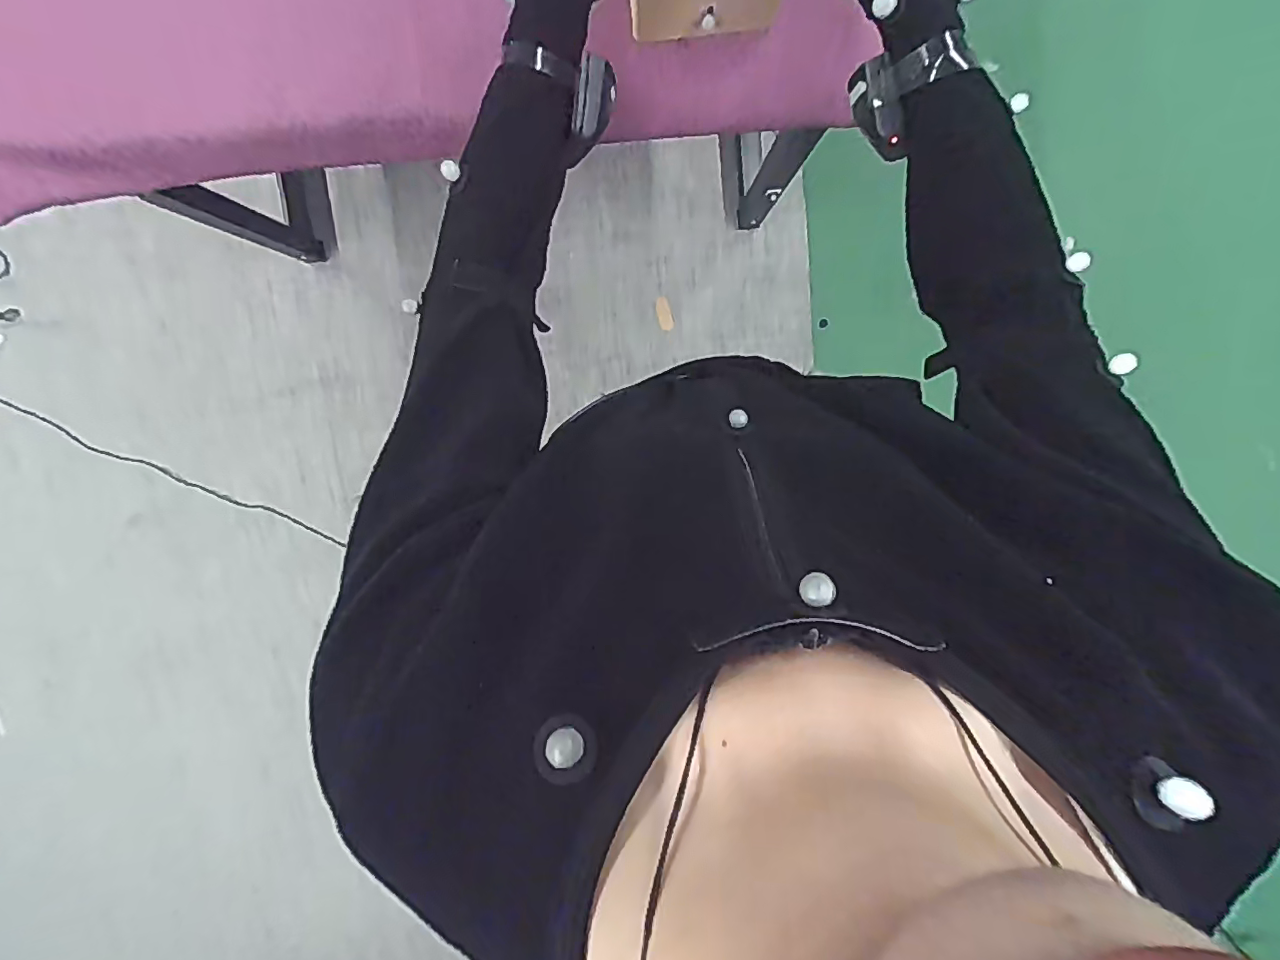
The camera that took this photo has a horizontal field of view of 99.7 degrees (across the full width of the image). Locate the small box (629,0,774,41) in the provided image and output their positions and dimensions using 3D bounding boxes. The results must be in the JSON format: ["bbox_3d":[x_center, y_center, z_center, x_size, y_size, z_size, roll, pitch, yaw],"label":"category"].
[{"bbox_3d":[0.070,-0.623,0.584,0.179,0.176,0.168,-5,97,2],"label":"small box"}]
